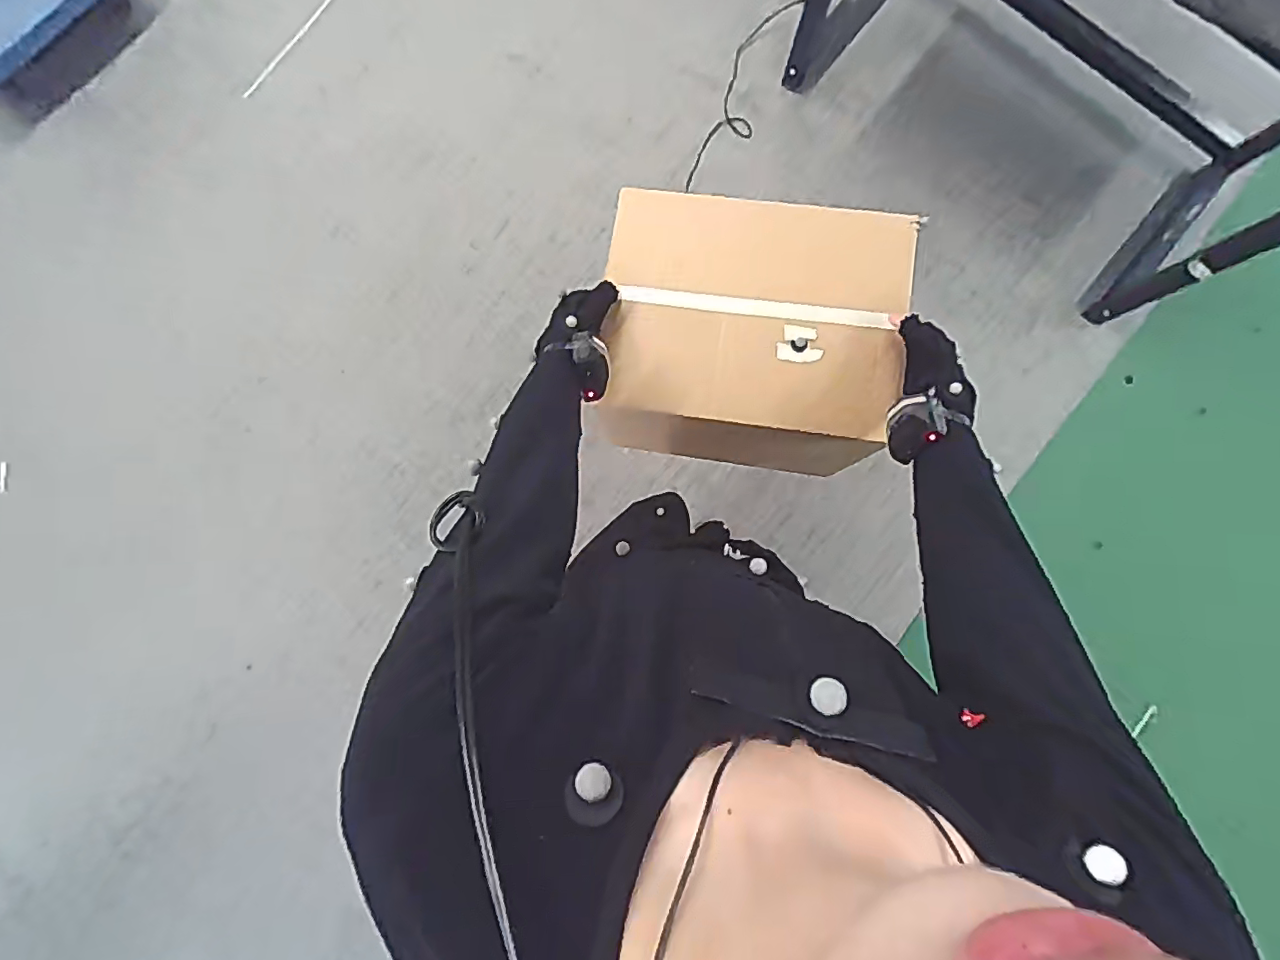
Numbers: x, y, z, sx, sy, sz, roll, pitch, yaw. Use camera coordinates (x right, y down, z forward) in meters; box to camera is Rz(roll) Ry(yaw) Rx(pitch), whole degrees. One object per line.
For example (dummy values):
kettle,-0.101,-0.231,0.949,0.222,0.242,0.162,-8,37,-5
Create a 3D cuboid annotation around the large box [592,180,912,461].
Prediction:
large box,0.156,-0.225,0.867,0.408,0.320,0.320,8,84,4
